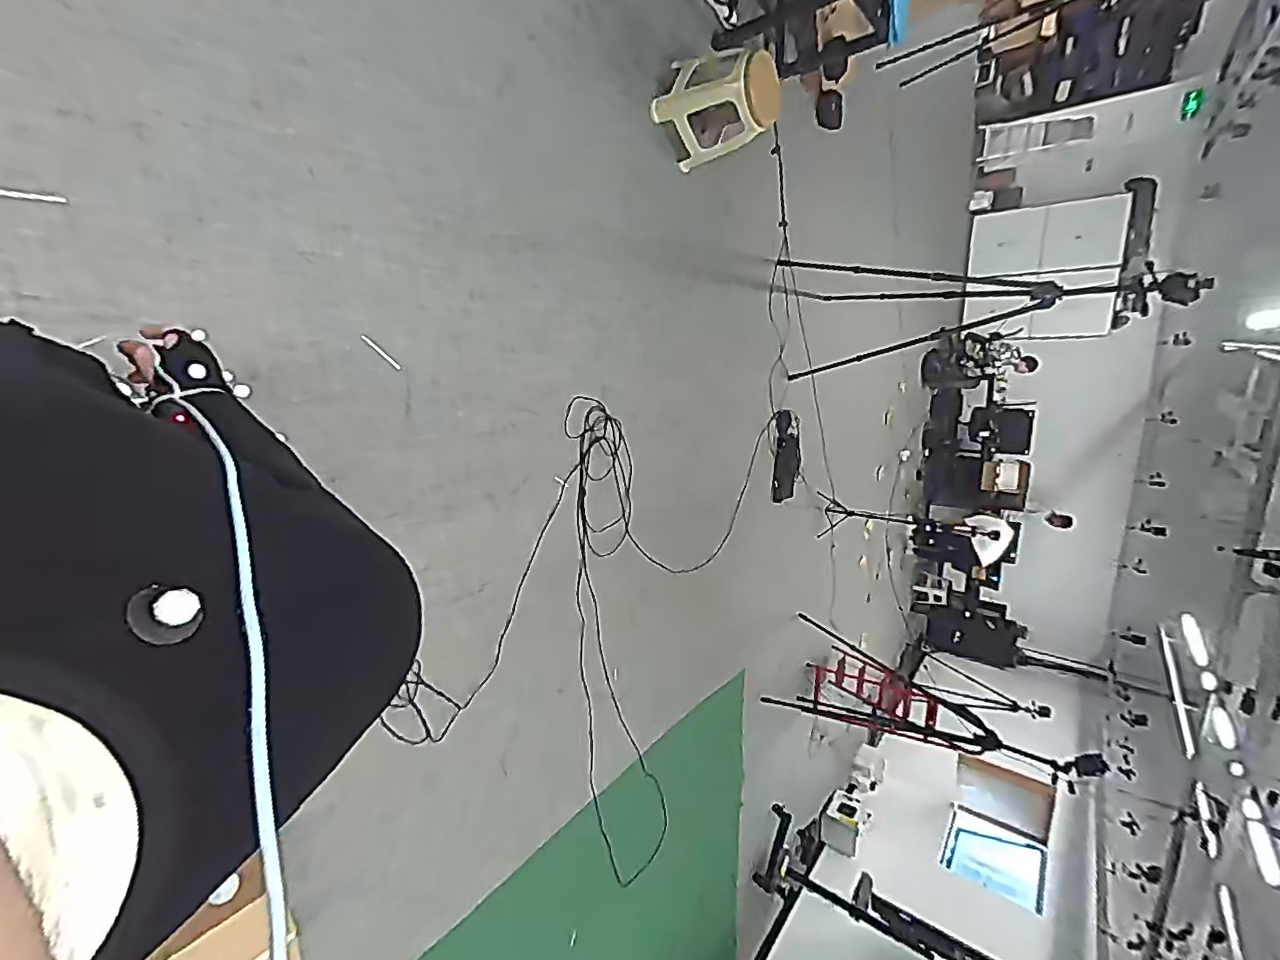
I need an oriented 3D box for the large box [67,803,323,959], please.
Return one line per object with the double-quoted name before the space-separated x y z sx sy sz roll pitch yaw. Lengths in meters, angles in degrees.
"large box" -1.081 1.118 1.337 0.408 0.320 0.320 -19 111 -47
